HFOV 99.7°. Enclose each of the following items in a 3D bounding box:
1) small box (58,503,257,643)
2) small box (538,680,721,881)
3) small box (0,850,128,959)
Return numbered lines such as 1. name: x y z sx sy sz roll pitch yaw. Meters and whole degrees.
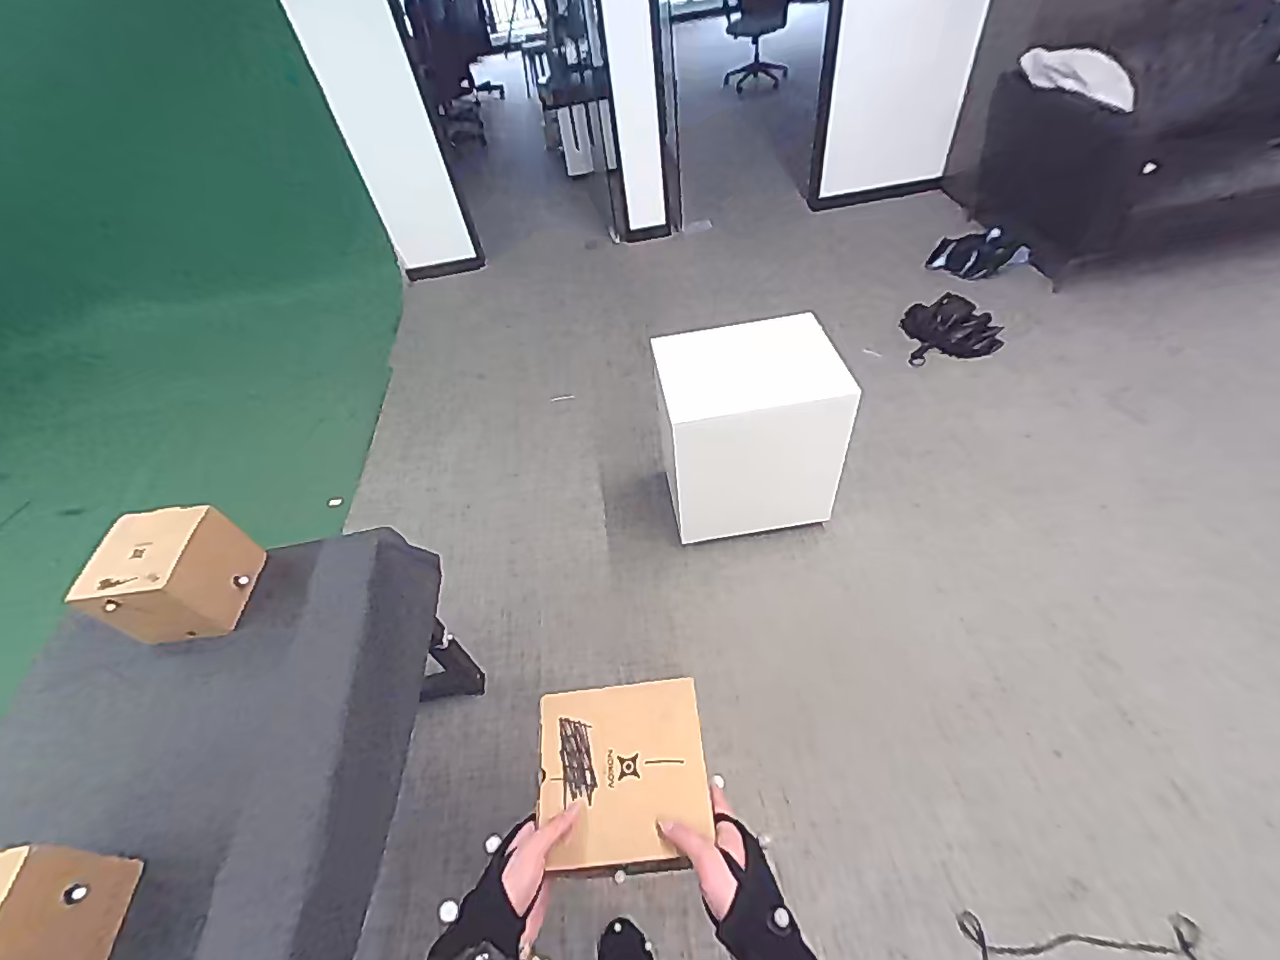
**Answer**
1. small box: -0.826 0.165 0.954 0.168 0.176 0.179 -7 48 1
2. small box: -0.006 0.342 0.610 0.179 0.176 0.168 -7 52 2
3. small box: -0.752 0.548 0.613 0.168 0.176 0.179 -11 50 -1
